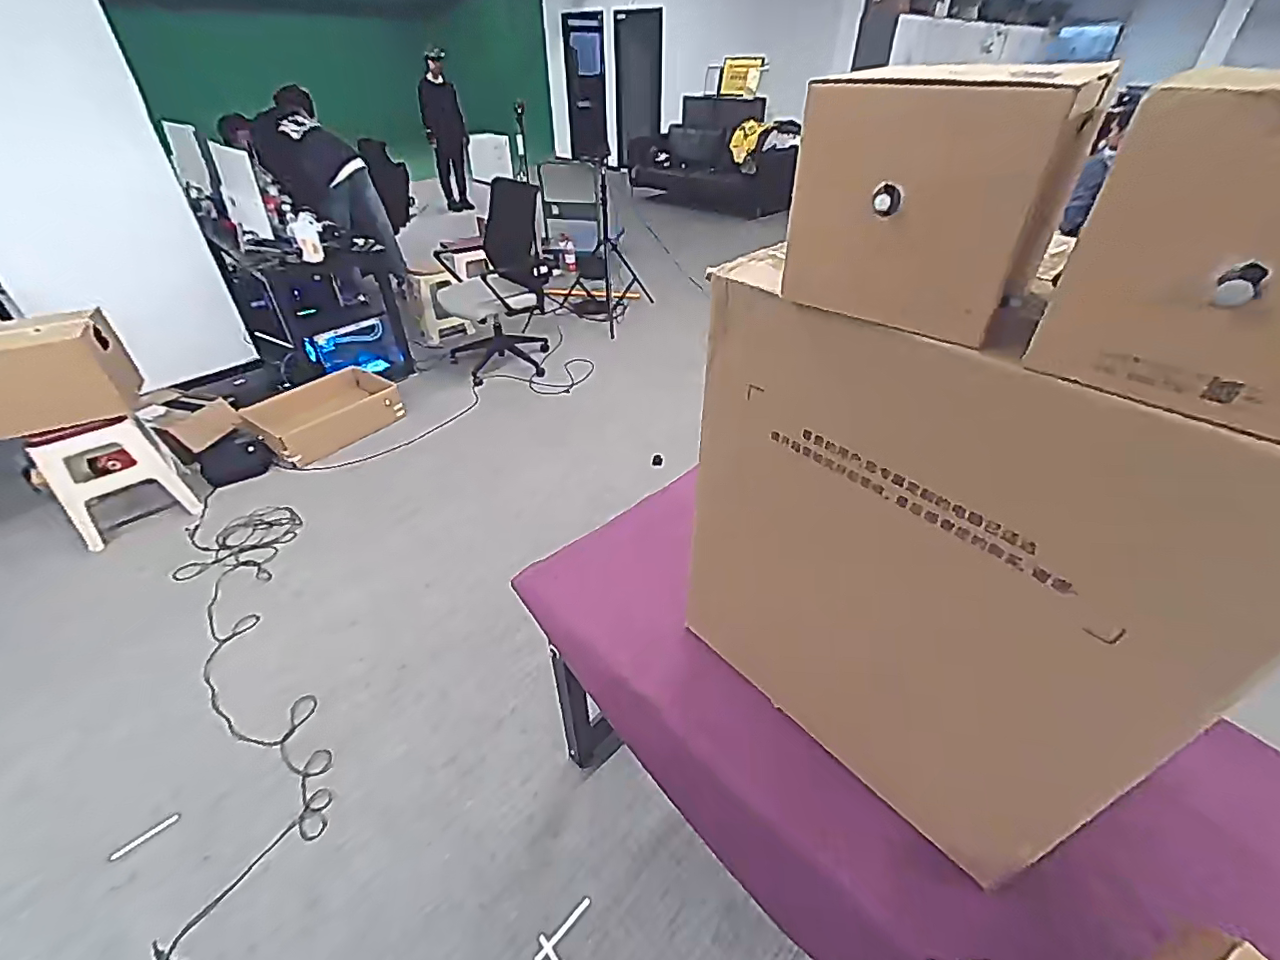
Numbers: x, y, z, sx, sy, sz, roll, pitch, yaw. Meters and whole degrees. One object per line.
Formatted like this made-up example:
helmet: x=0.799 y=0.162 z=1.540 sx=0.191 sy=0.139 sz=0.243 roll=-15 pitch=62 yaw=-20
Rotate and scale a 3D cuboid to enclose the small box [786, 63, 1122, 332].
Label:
small box: x=0.245 y=-0.239 z=0.455 sx=0.179 sy=0.176 sz=0.168 roll=28 pitch=47 yaw=34
